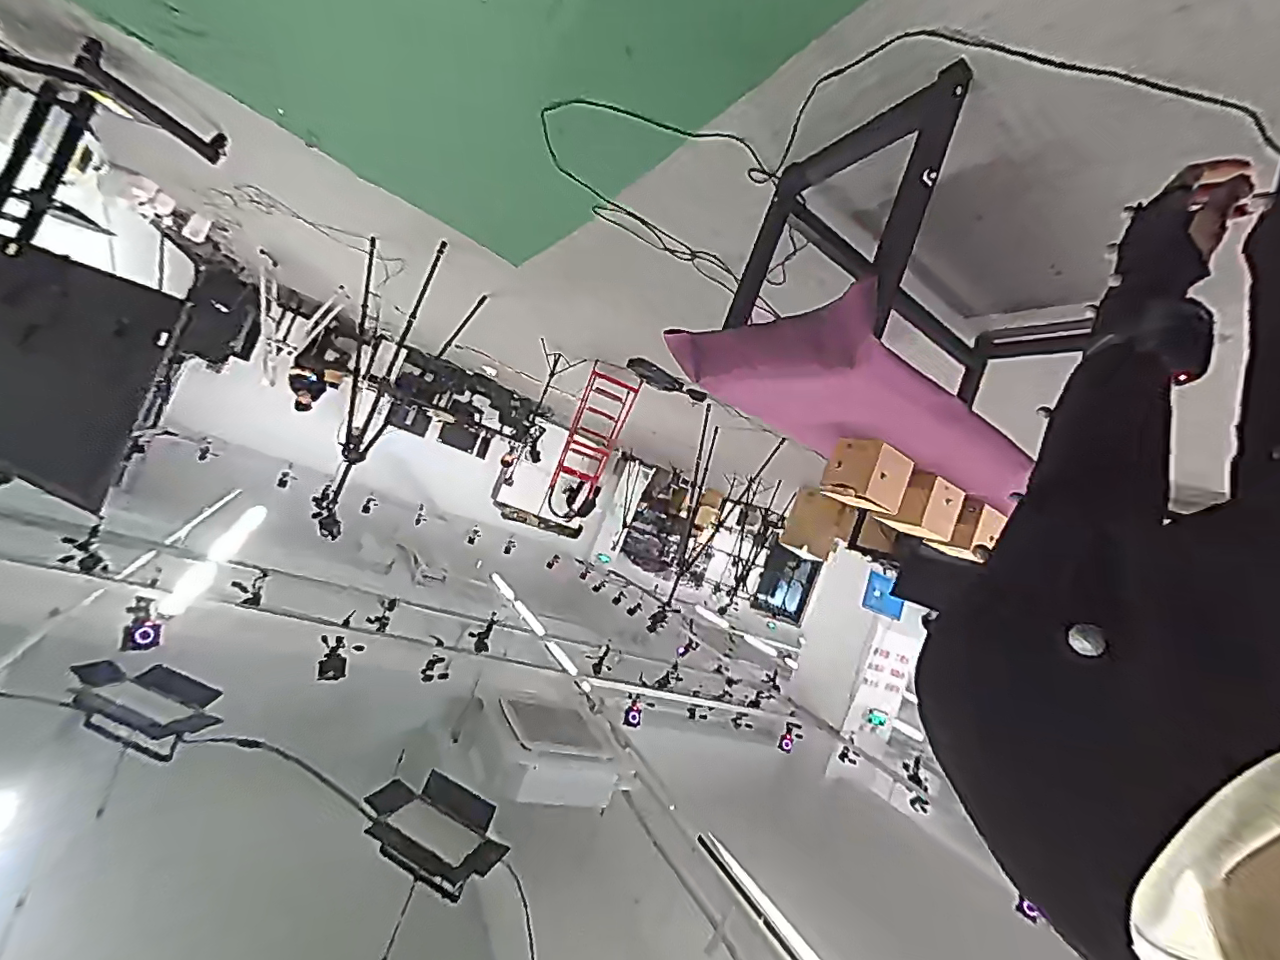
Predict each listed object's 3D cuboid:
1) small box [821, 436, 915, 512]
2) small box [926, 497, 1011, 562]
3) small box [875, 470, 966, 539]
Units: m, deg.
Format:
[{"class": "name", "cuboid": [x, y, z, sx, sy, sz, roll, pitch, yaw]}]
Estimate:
[{"class": "small box", "cuboid": [0.675, -0.022, 1.598, 0.179, 0.176, 0.168, 23, 176, -33]}, {"class": "small box", "cuboid": [1.112, 0.160, 1.828, 0.179, 0.176, 0.168, 22, 176, -29]}, {"class": "small box", "cuboid": [0.895, 0.071, 1.725, 0.168, 0.176, 0.179, 22, 176, -29]}]
